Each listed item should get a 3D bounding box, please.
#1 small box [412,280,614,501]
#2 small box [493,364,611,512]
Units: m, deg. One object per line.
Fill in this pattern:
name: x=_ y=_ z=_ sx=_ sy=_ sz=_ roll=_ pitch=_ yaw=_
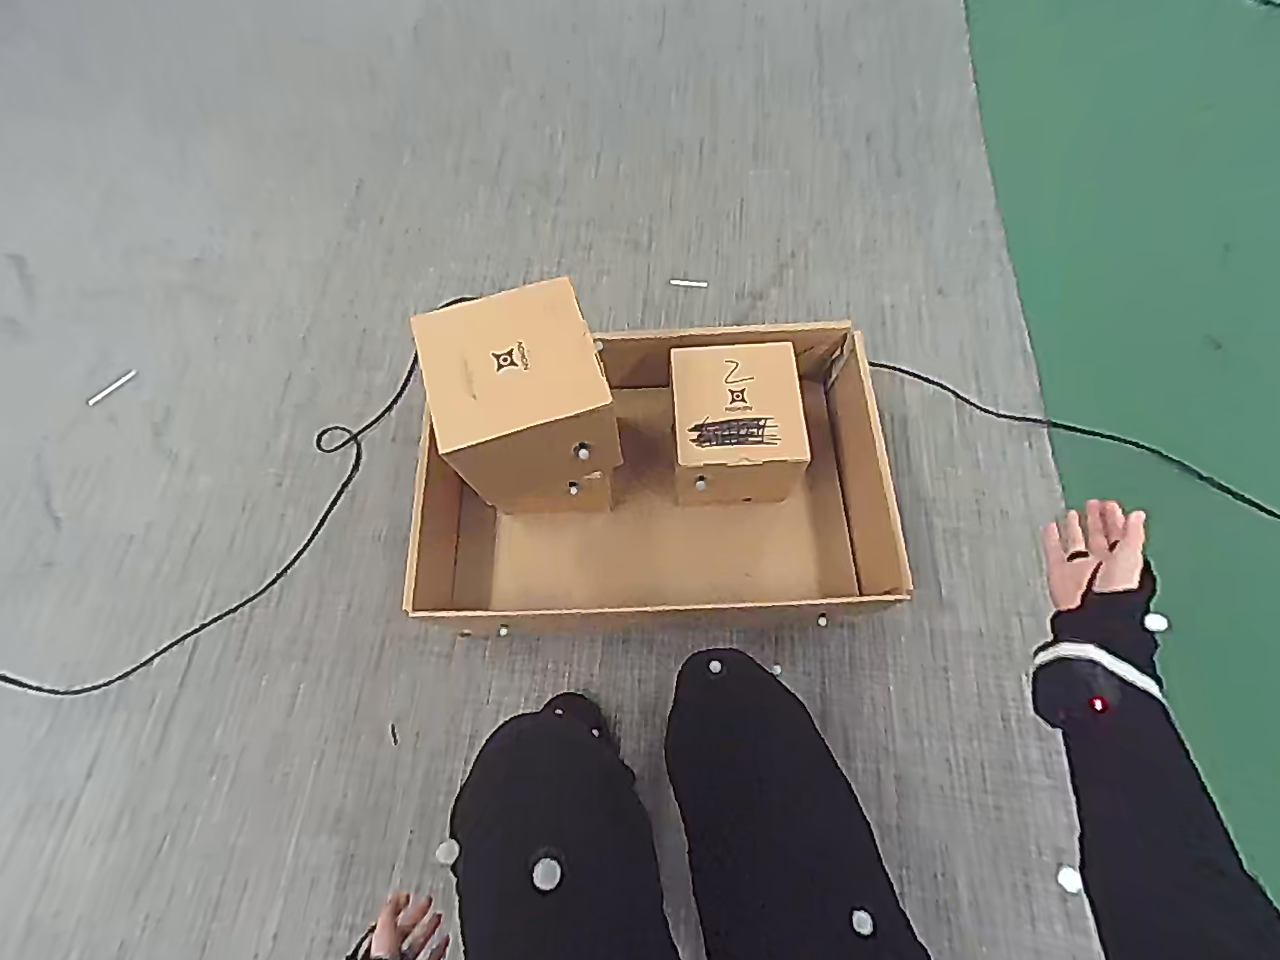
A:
small box: x=-0.132 y=-0.092 z=0.621 sx=0.179 sy=0.176 sz=0.168 roll=-17 pitch=71 yaw=-4
small box: x=-0.135 y=-0.053 z=0.780 sx=0.179 sy=0.176 sz=0.168 roll=-1 pitch=71 yaw=1
